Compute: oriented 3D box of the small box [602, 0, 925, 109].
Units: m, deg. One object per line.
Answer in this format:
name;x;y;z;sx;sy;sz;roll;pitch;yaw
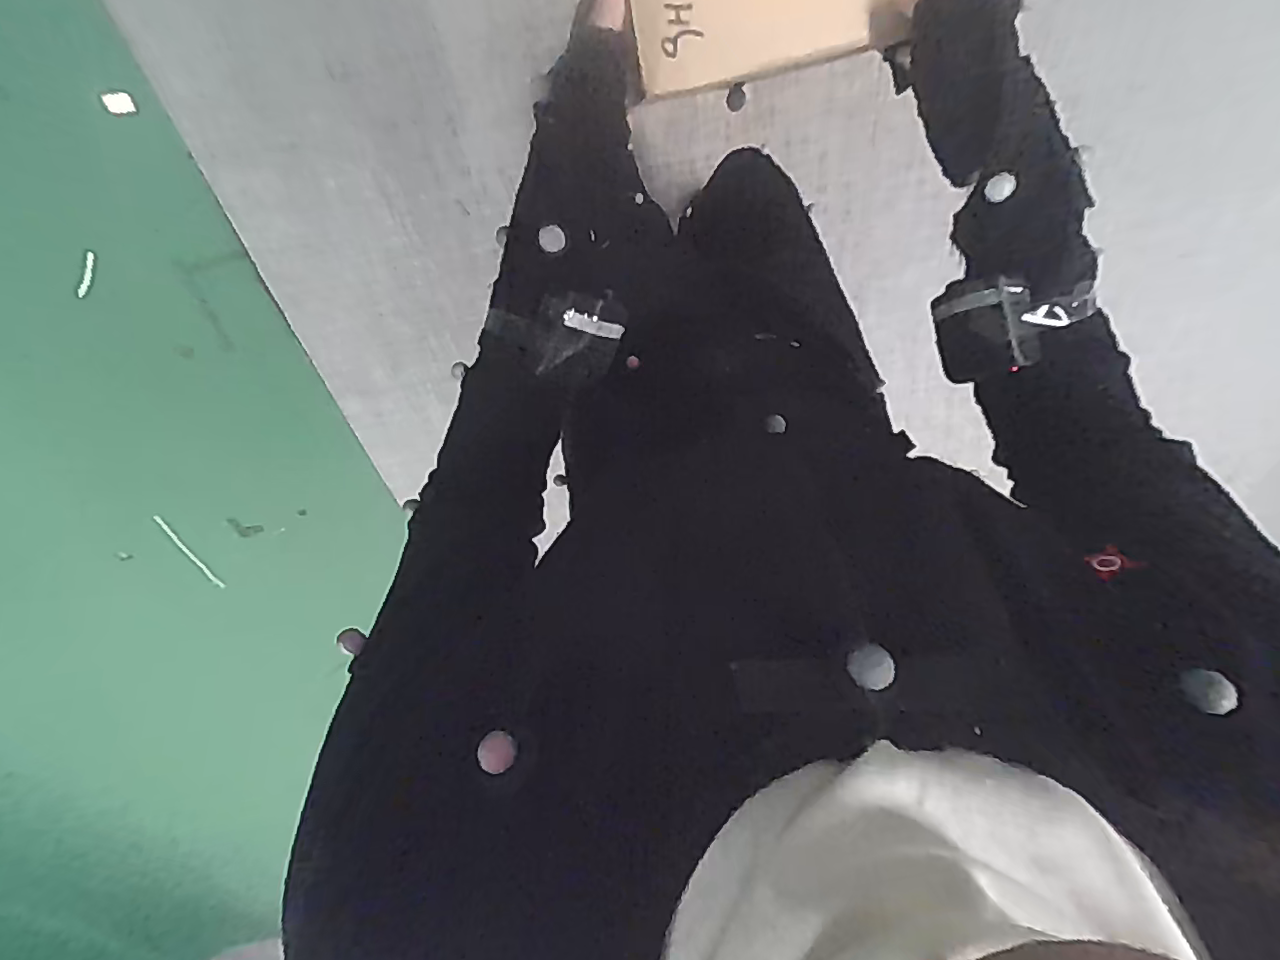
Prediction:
small box;0.063;-0.359;0.351;0.179;0.176;0.168;-13;122;1
